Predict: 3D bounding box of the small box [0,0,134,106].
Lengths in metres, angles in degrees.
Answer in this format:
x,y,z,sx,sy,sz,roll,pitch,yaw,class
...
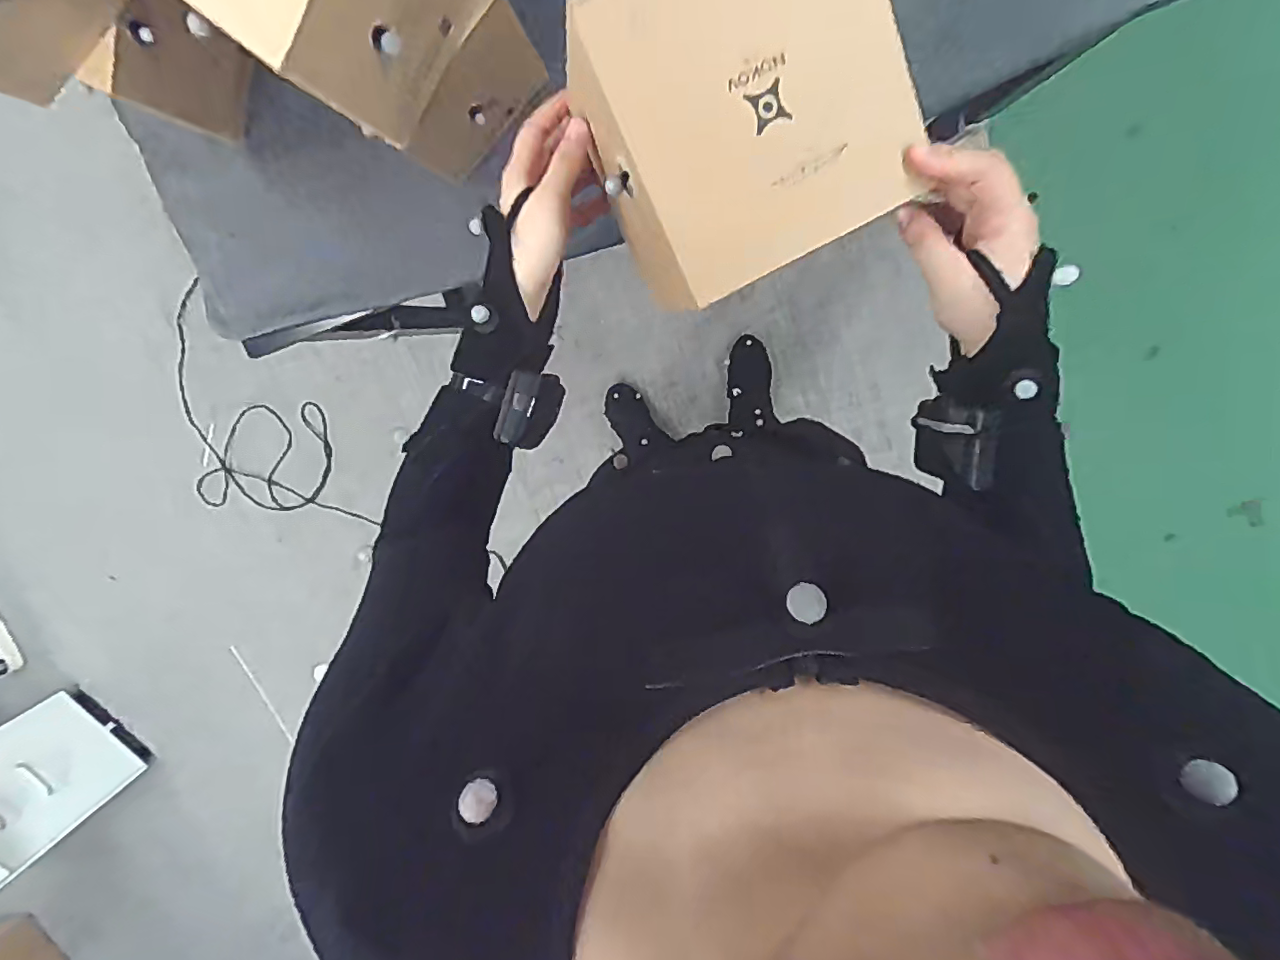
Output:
x,y,z,sx,sy,sz,roll,pitch,yaw,class
-0.567,-0.449,0.423,0.179,0.176,0.168,-35,101,15,small box

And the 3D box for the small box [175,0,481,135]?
x,y,z,sx,sy,sz,roll,pitch,yaw,class
-0.248,-0.399,0.406,0.179,0.176,0.168,36,106,-4,small box

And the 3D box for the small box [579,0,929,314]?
x,y,z,sx,sy,sz,roll,pitch,yaw,class
0.064,-0.237,0.393,0.168,0.176,0.179,-26,106,1,small box

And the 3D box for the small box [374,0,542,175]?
x,y,z,sx,sy,sz,roll,pitch,yaw,class
-0.229,-0.451,0.559,0.168,0.176,0.179,-42,98,14,small box

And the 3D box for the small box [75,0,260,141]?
x,y,z,sx,sy,sz,roll,pitch,yaw,class
-0.553,-0.500,0.580,0.179,0.176,0.168,22,107,-1,small box
